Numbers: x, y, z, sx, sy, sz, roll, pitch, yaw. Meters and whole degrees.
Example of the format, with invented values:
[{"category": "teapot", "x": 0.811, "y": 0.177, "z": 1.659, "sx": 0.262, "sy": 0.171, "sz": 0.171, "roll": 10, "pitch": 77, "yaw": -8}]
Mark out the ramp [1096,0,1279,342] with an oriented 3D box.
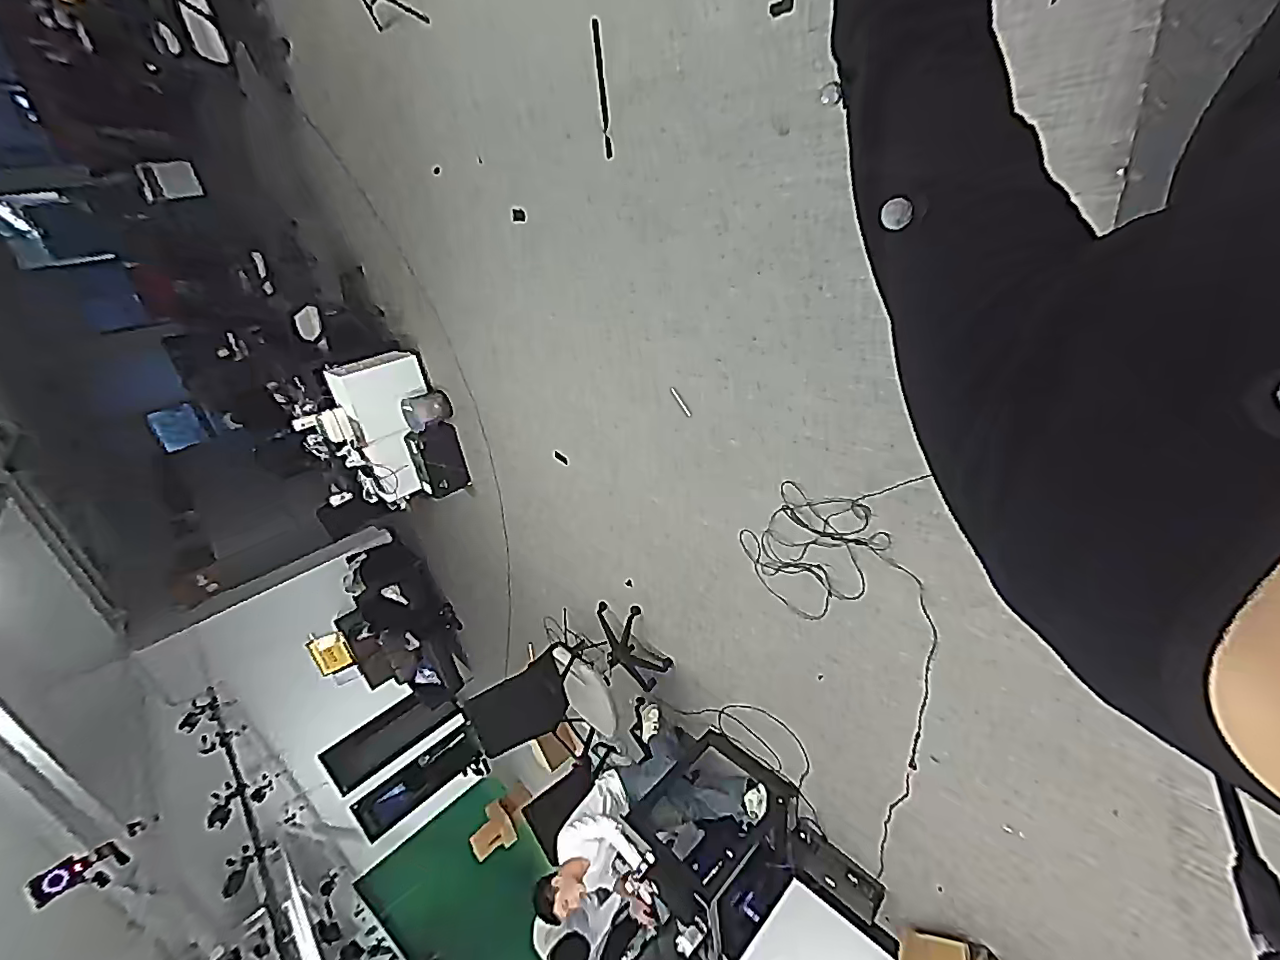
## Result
[{"category": "ramp", "x": 1.055, "y": -0.663, "z": 0.765, "sx": 0.509, "sy": 0.206, "sz": 0.991, "roll": 17, "pitch": 127, "yaw": 43}]
